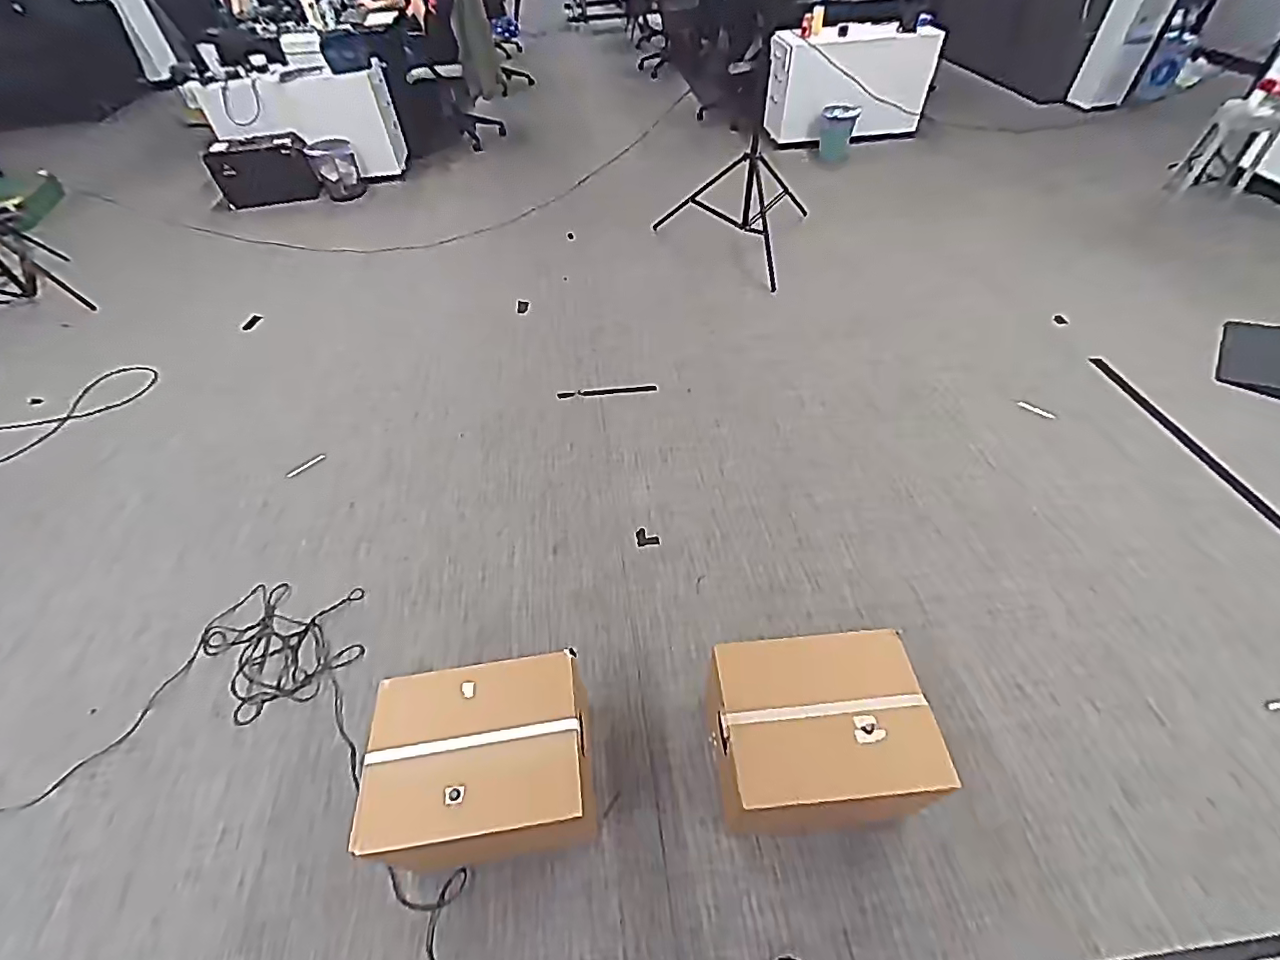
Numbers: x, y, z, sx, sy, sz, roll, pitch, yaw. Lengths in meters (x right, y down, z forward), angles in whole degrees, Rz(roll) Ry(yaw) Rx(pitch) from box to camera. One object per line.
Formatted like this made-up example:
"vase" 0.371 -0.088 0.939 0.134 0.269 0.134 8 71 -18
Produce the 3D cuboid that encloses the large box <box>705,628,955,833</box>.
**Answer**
"large box" 0.374 0.556 1.193 0.408 0.320 0.320 -4 49 -2
